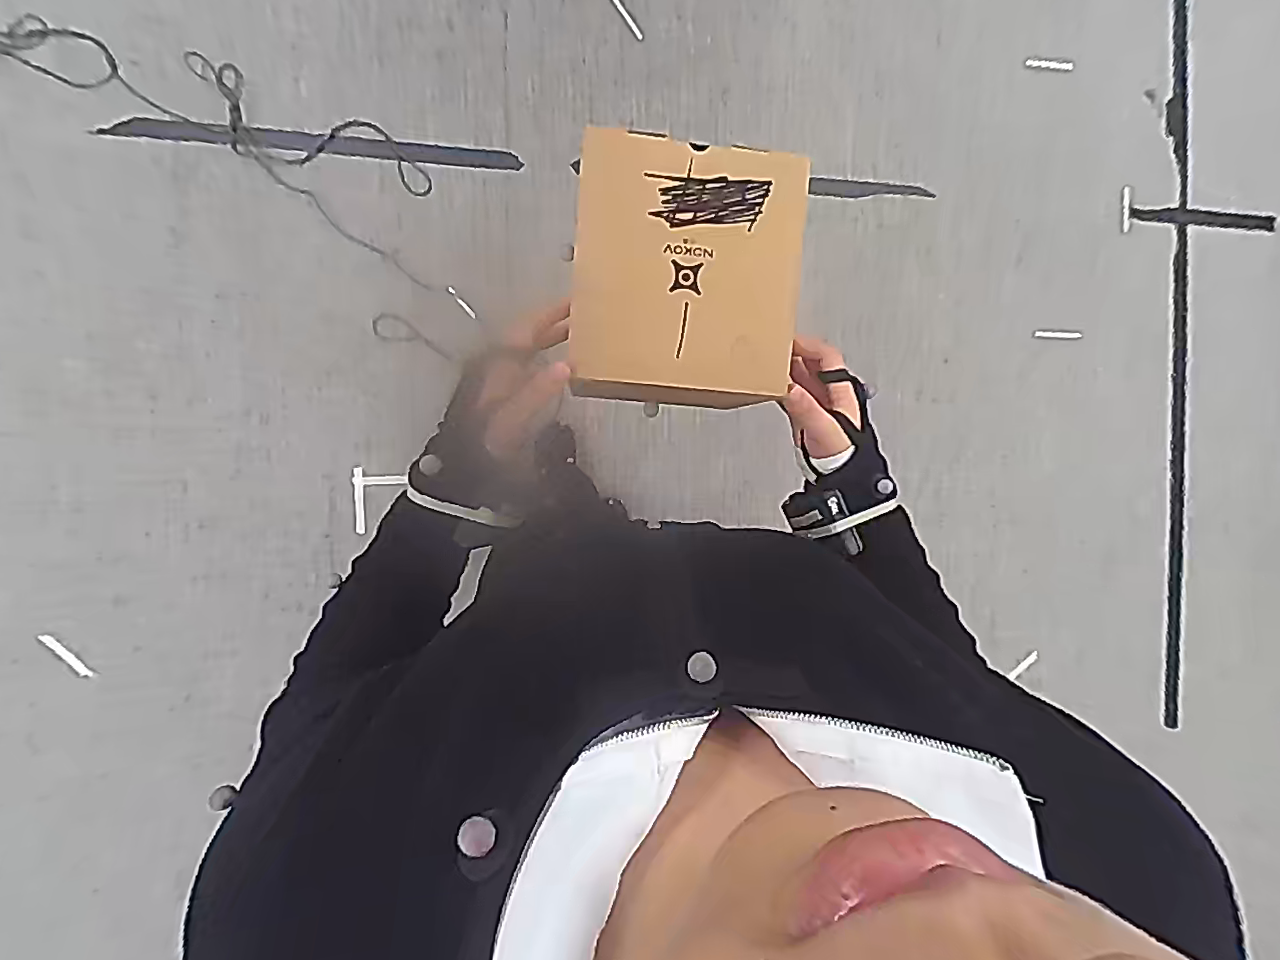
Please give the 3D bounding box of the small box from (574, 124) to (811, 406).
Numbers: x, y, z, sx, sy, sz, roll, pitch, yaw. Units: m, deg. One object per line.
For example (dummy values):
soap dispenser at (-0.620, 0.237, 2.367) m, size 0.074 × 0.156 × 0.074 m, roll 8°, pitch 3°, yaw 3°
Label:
small box at (0.031, -0.163, 0.469) m, size 0.168 × 0.176 × 0.179 m, roll 4°, pitch 94°, yaw -5°
